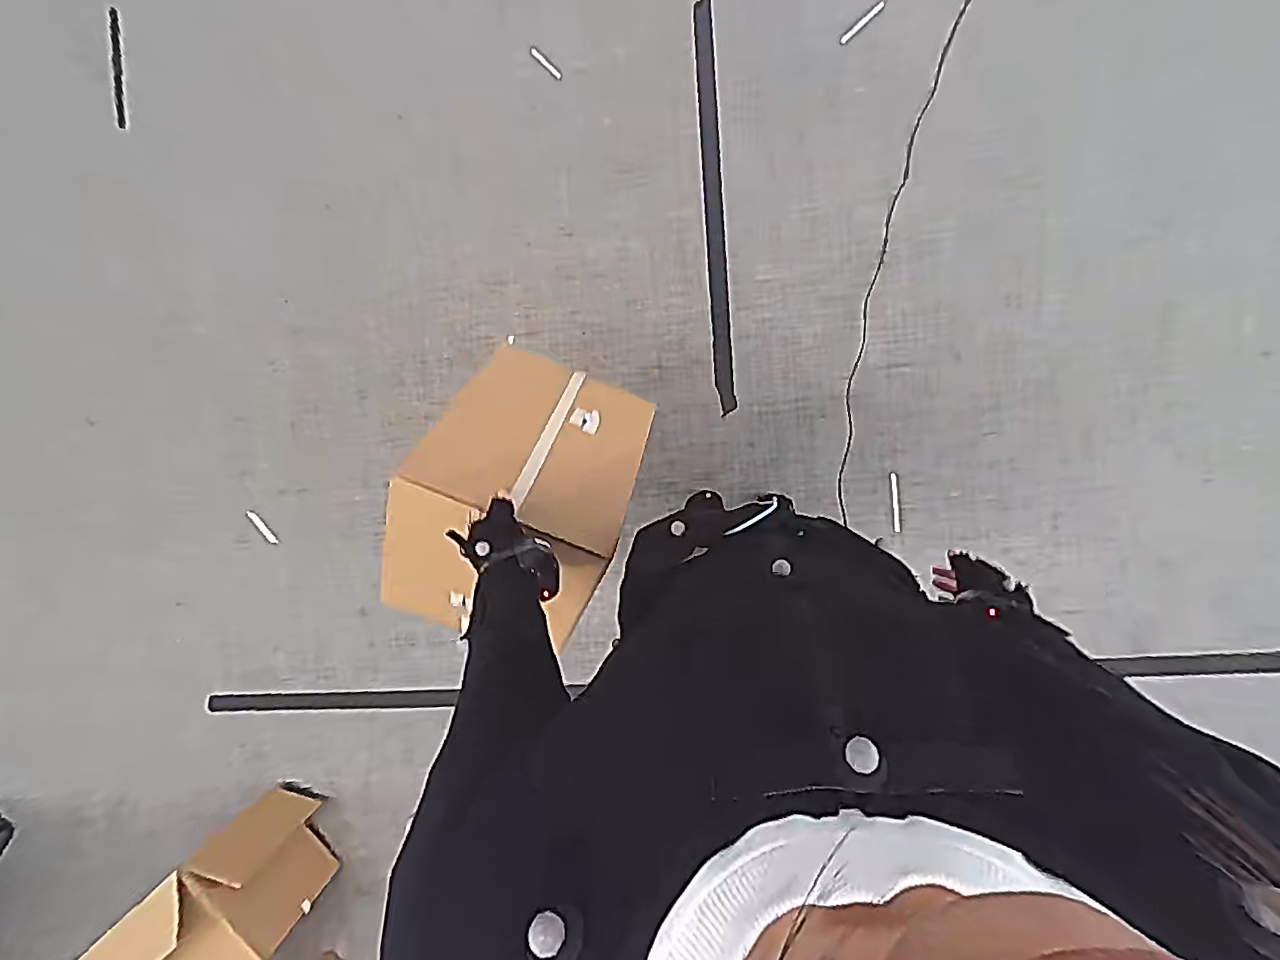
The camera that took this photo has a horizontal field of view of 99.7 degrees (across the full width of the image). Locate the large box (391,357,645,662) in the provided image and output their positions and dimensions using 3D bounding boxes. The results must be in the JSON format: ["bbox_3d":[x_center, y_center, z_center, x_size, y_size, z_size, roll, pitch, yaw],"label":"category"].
[{"bbox_3d":[-0.208,0.045,0.983,0.320,0.408,0.320,22,129,-6],"label":"large box"}]
